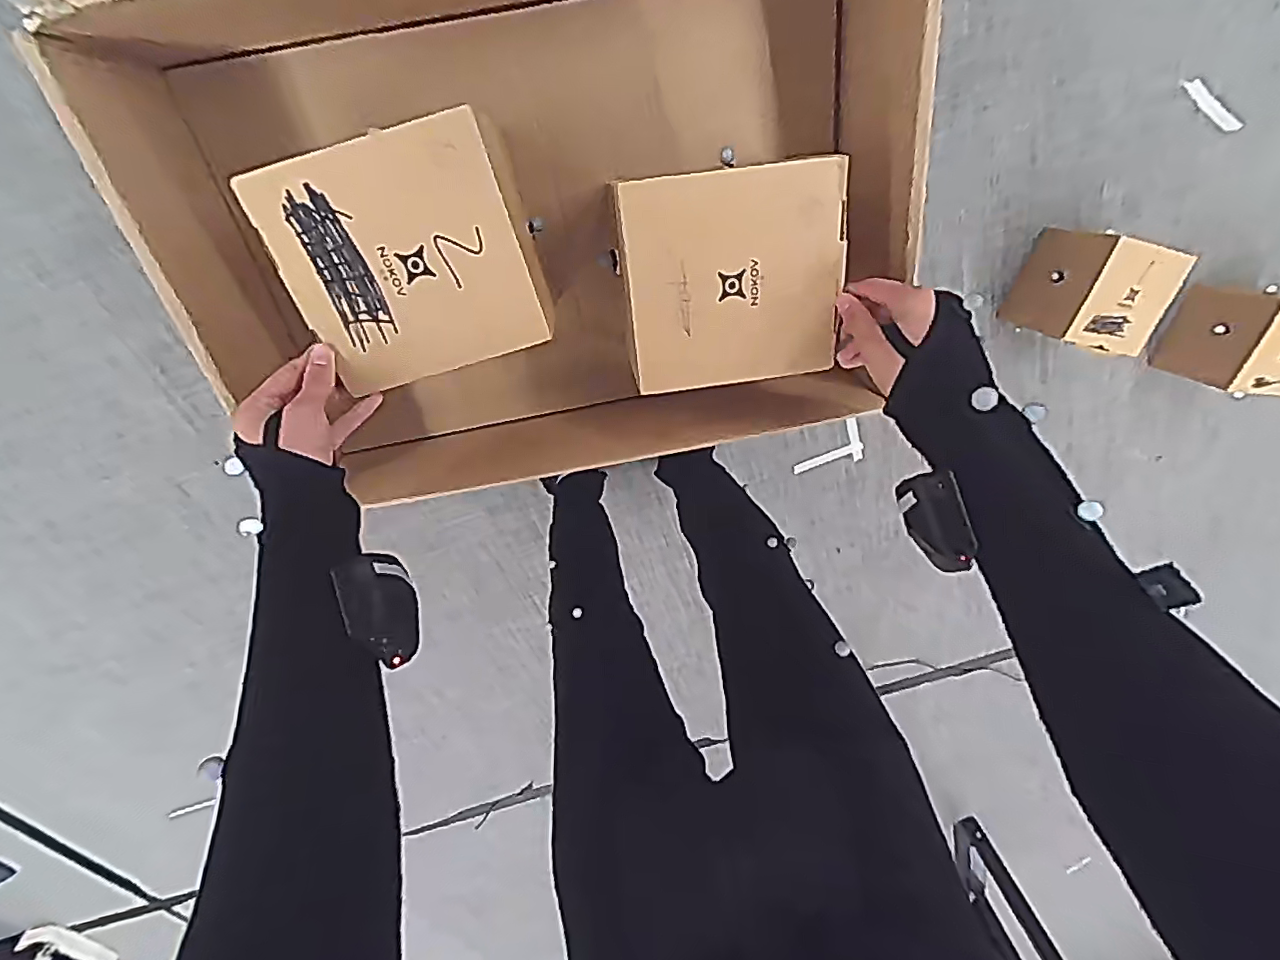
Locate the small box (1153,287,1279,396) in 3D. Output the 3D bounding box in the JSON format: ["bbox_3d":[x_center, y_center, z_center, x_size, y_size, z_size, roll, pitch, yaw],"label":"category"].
[{"bbox_3d":[1.201,-0.280,1.080,0.168,0.176,0.179,3,117,-8],"label":"small box"}]

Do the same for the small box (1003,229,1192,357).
[{"bbox_3d":[0.820,-0.348,0.996,0.168,0.176,0.179,8,117,-11],"label":"small box"}]
